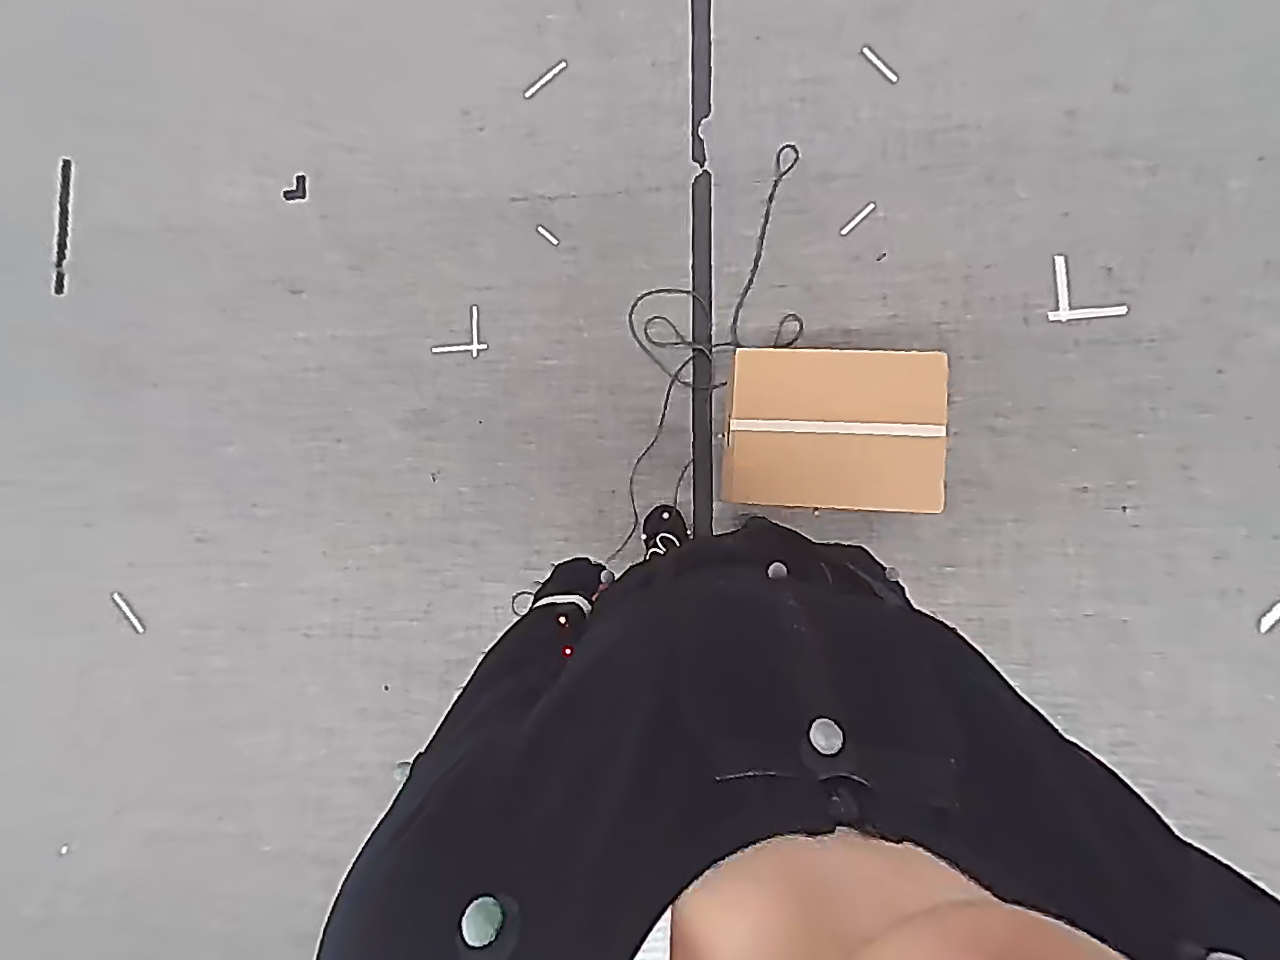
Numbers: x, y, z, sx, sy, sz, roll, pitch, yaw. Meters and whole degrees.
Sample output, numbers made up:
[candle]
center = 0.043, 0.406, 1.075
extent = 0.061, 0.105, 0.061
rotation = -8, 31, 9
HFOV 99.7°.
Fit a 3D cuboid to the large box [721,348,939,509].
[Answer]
[large box]
center = 0.392, -0.099, 1.213
extent = 0.408, 0.320, 0.320
rotation = 3, 89, 6
